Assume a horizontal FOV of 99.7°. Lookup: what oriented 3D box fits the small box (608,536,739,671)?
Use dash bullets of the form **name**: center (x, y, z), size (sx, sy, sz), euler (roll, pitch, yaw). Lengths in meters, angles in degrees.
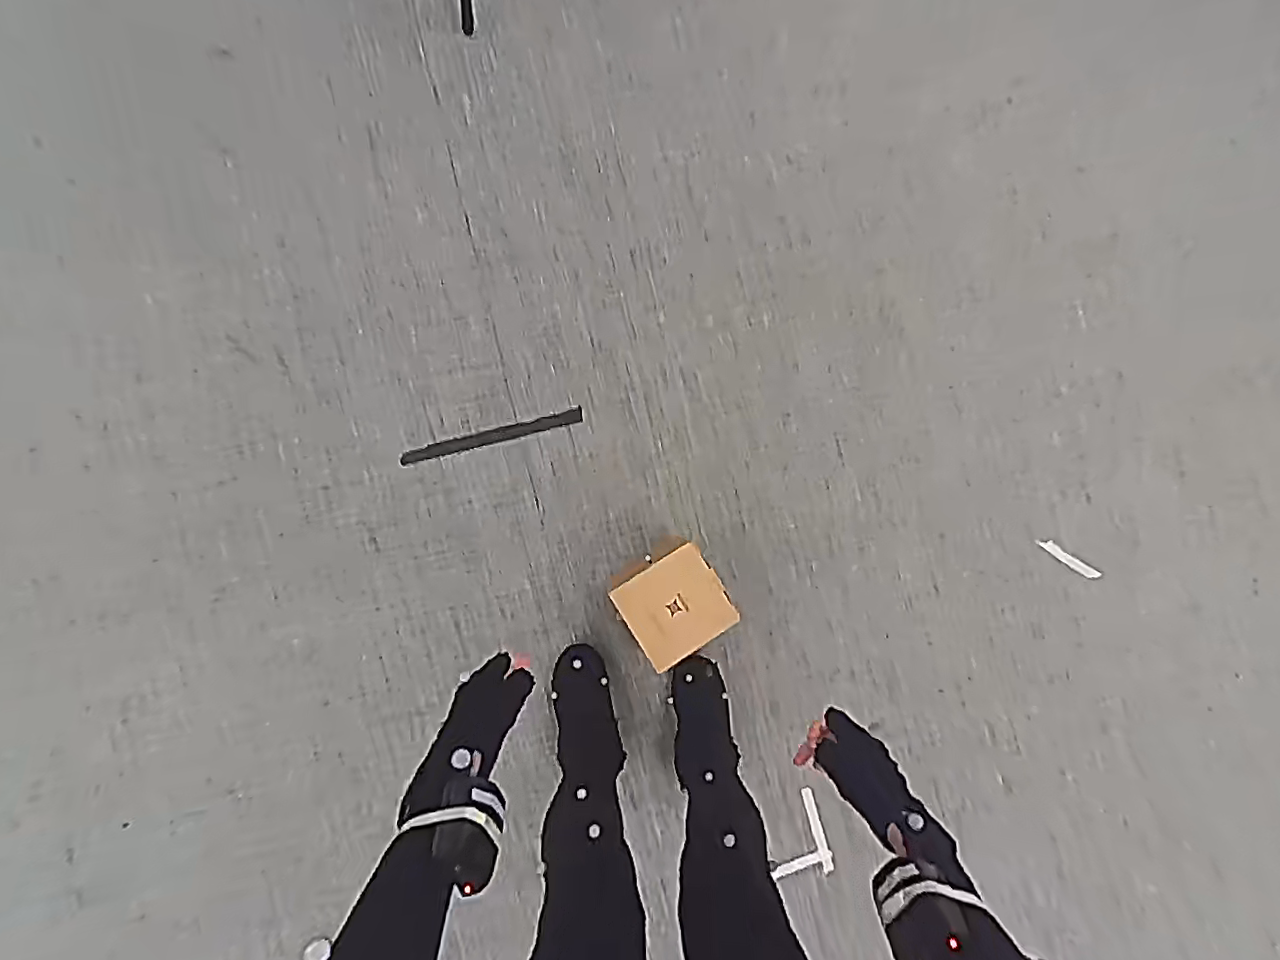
- **small box**: center (0.052, 0.216, 1.004), size (0.179, 0.176, 0.168), euler (-33, 90, -5)
